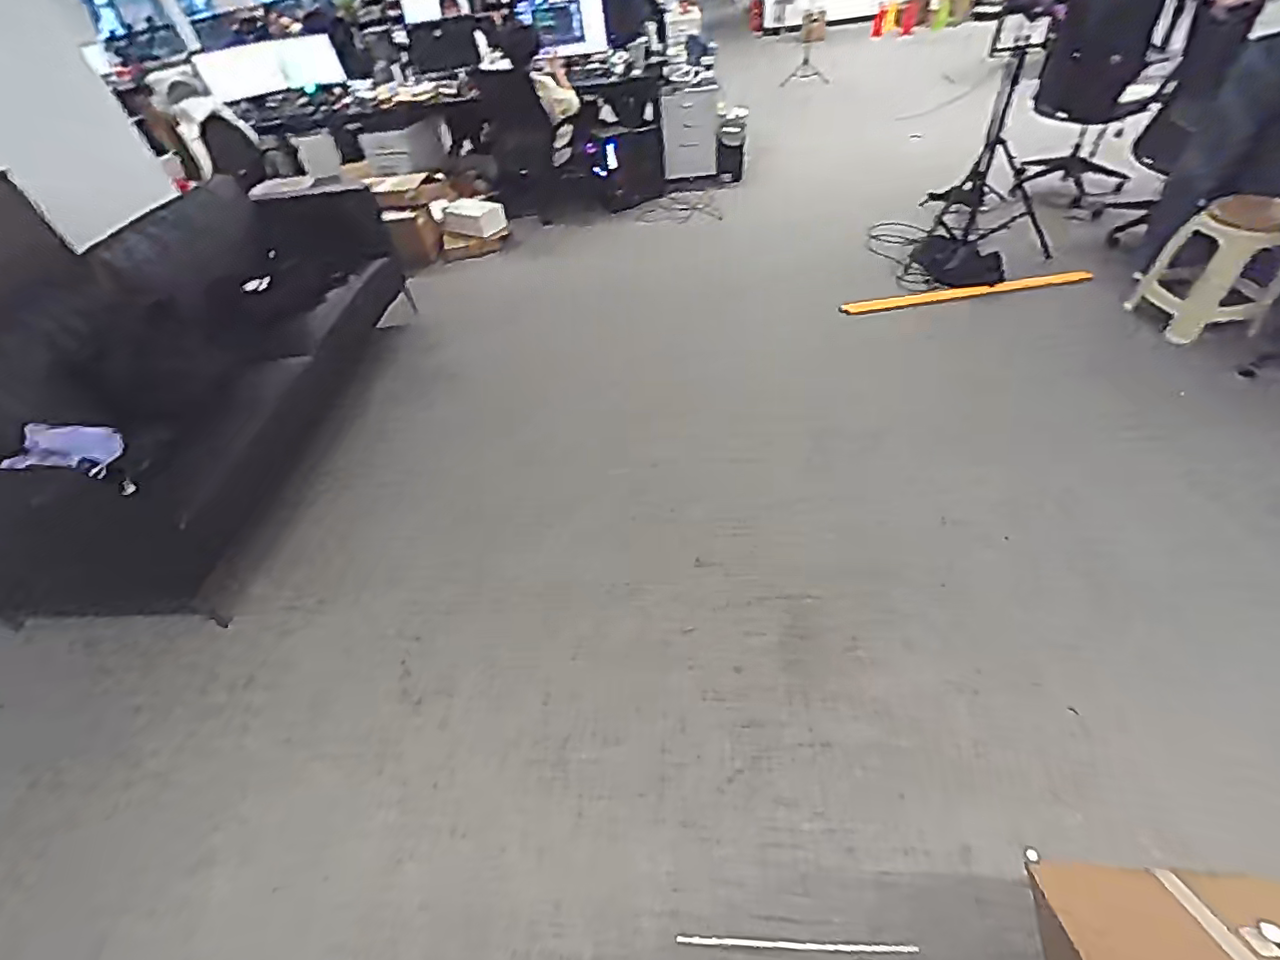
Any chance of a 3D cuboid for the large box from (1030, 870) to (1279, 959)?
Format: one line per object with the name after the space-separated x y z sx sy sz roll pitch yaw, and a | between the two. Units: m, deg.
0.663 0.681 0.536 0.320 0.408 0.320 -7 83 19 | large box
